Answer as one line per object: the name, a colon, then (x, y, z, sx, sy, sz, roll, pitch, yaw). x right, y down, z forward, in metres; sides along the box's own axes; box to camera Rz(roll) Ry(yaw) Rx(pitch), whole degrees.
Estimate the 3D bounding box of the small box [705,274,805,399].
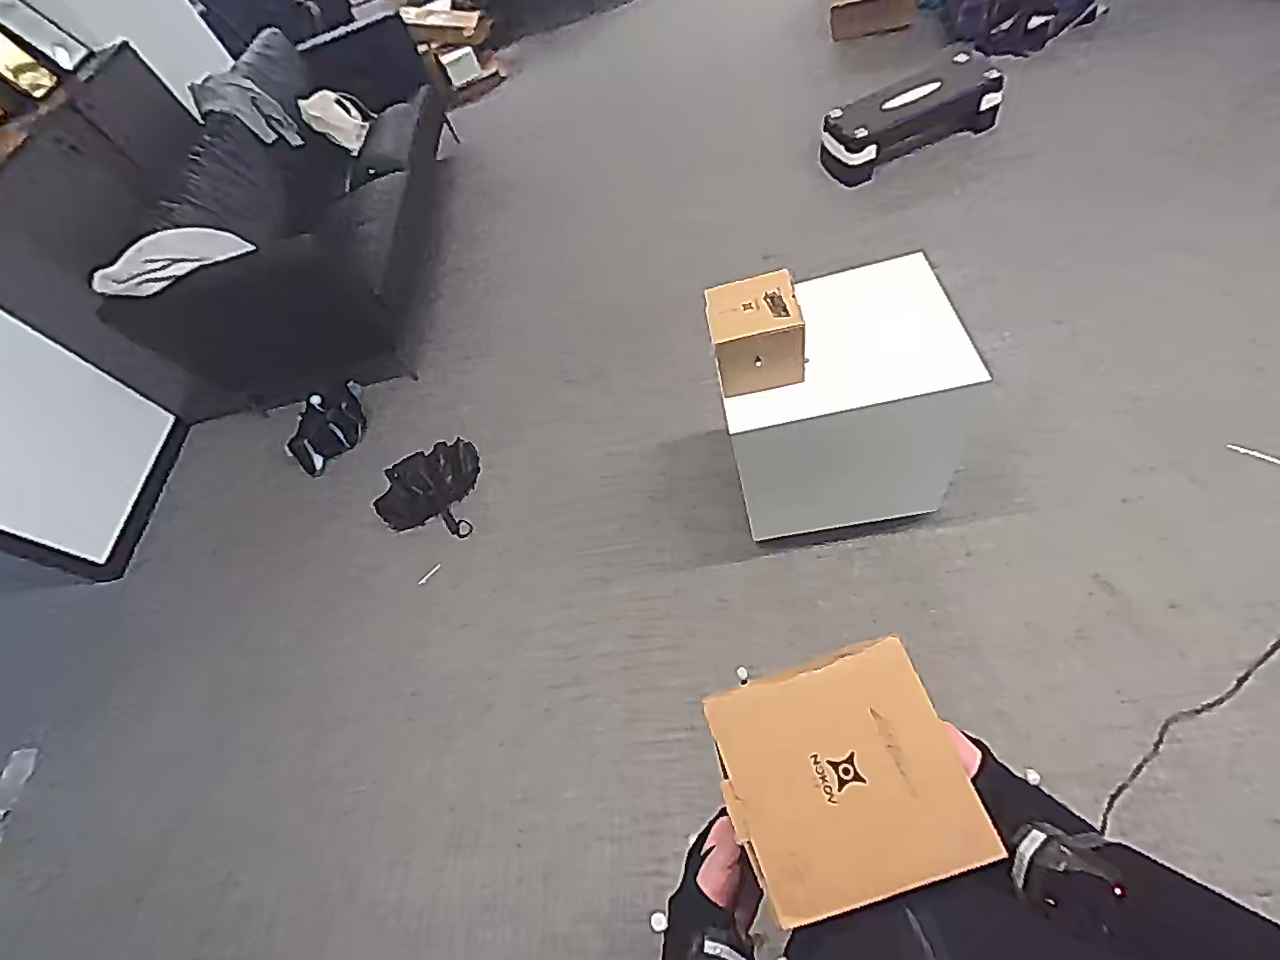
small box: (0.242, -0.297, 1.141, 0.179, 0.176, 0.168, -11, 56, 11)
